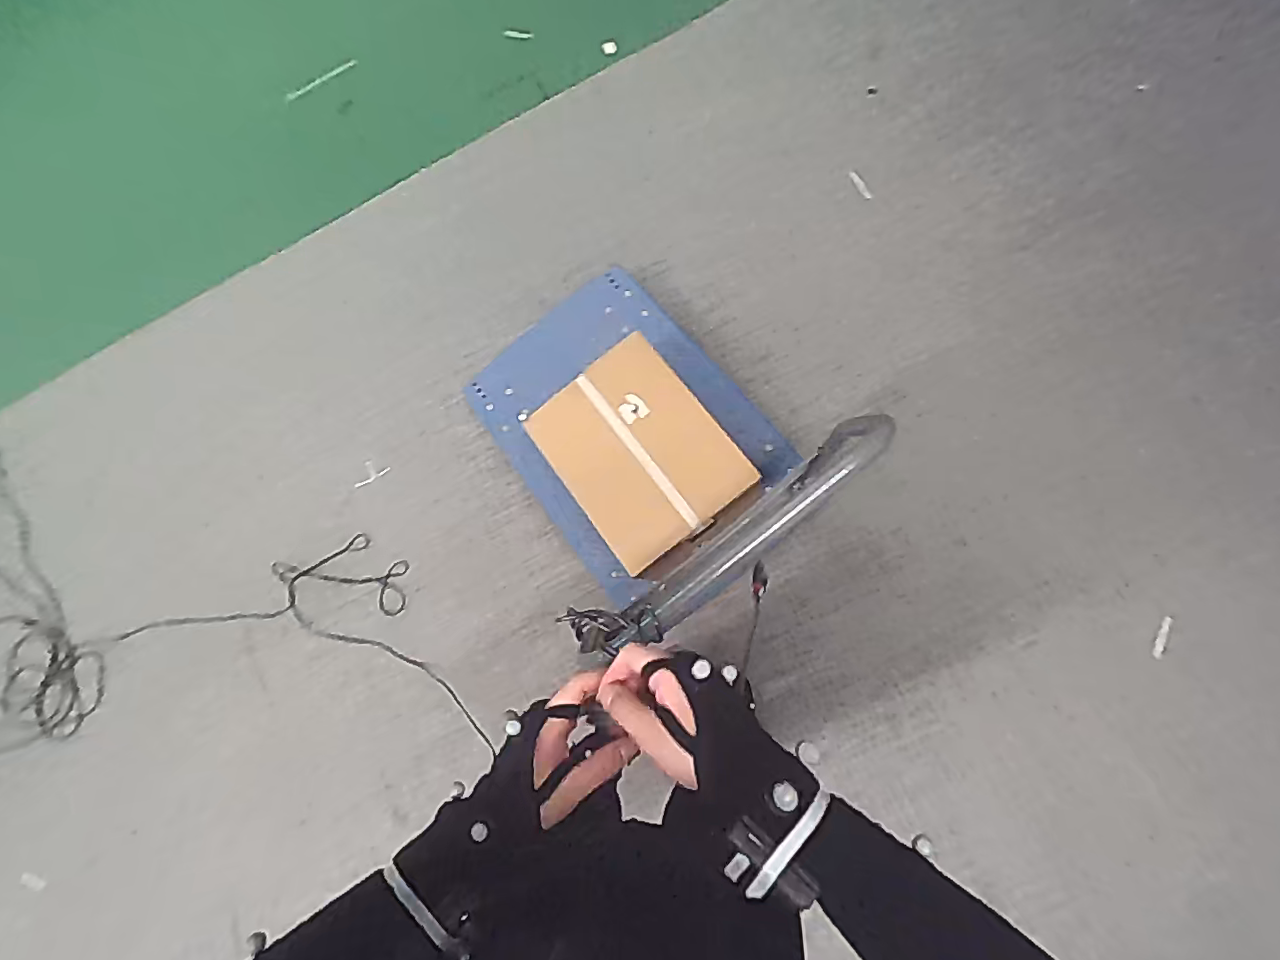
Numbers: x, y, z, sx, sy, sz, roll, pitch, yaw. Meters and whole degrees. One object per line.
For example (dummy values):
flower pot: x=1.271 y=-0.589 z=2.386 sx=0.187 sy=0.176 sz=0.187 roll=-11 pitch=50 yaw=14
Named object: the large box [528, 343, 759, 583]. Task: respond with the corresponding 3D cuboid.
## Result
large box: x=0.026 y=-0.018 z=1.228 sx=0.320 sy=0.320 sz=0.408 roll=-37 pitch=73 yaw=1
